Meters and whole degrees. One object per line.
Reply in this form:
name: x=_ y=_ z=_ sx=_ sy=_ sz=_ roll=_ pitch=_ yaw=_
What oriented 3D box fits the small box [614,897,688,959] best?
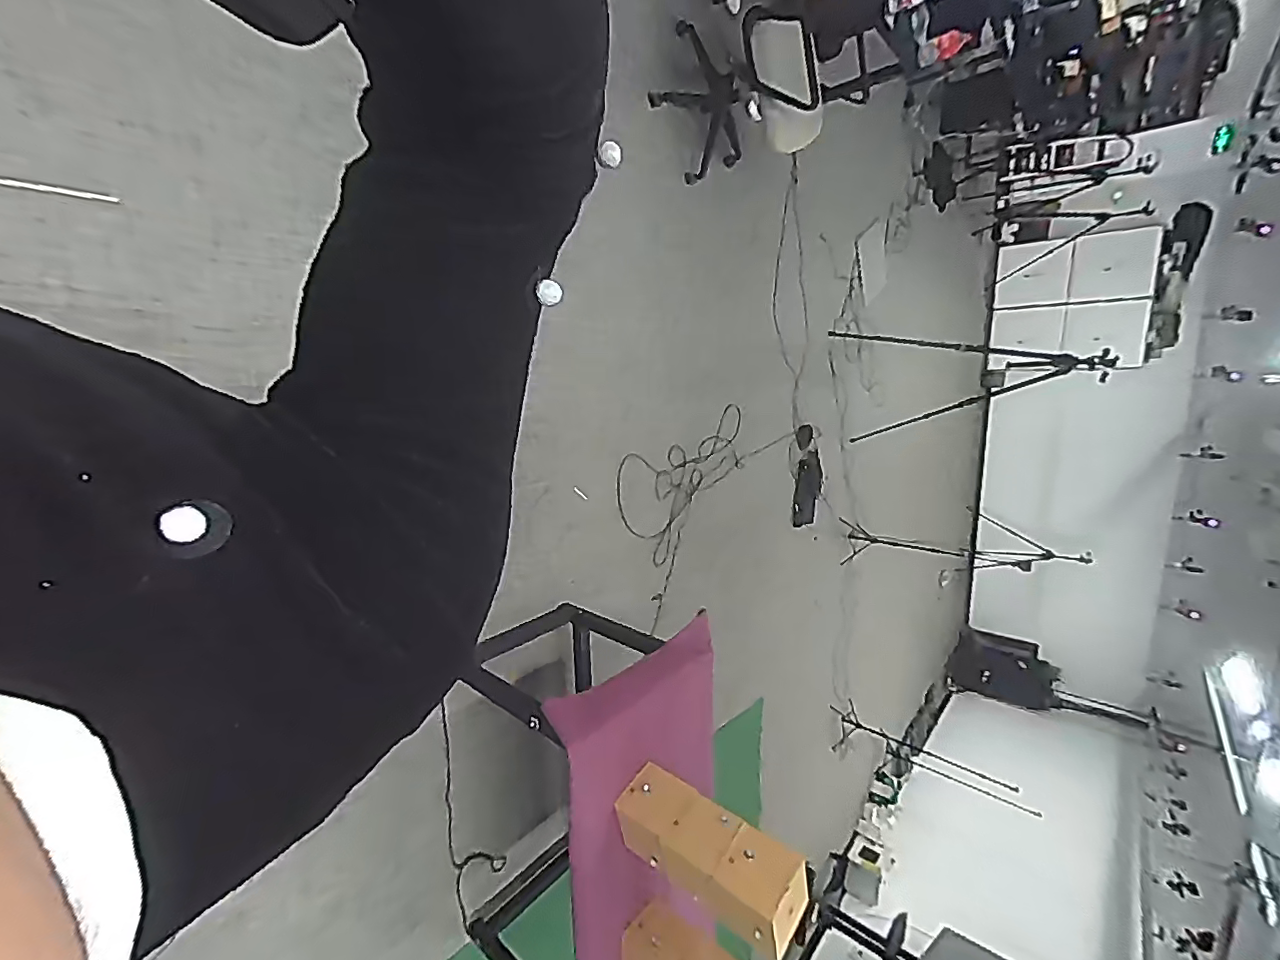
small box: x=0.032 y=1.423 z=1.645 sx=0.168 sy=0.176 sz=0.179 roll=-10 pitch=104 yaw=-49

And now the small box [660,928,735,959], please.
small box: x=0.159 y=1.440 z=1.543 sx=0.168 sy=0.176 sz=0.179 roll=-13 pitch=104 yaw=-48

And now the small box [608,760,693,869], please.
small box: x=0.030 y=0.955 z=1.562 sx=0.168 sy=0.176 sz=0.179 roll=-32 pitch=119 yaw=-44

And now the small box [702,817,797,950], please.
small box: x=0.275 y=0.995 z=1.350 sx=0.168 sy=0.176 sz=0.179 roll=-33 pitch=120 yaw=-42
